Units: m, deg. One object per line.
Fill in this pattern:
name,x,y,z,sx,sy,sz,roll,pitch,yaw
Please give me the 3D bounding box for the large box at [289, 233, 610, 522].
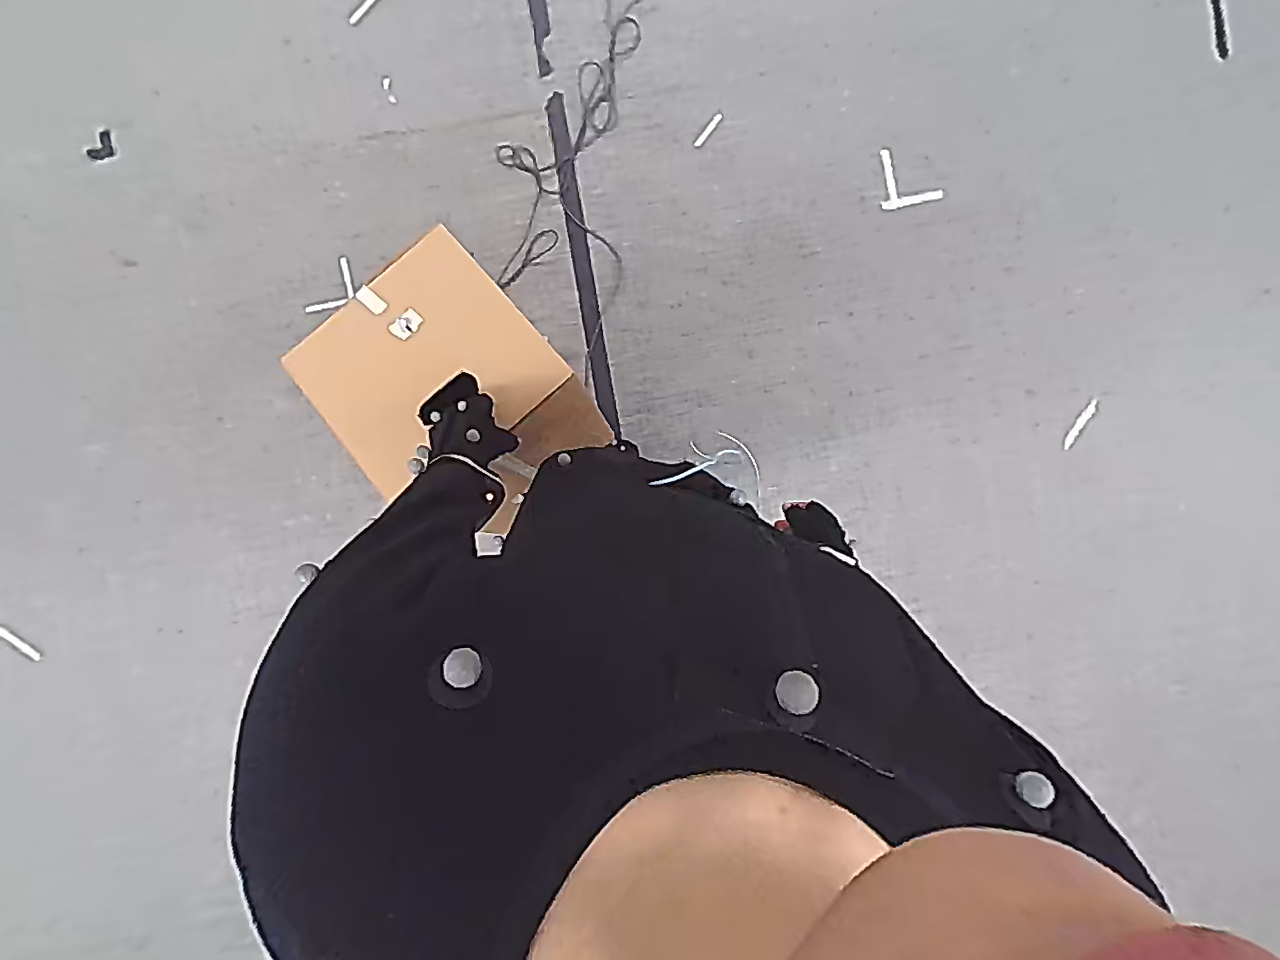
large box,-0.296,-0.142,0.968,0.320,0.408,0.320,-41,81,0
